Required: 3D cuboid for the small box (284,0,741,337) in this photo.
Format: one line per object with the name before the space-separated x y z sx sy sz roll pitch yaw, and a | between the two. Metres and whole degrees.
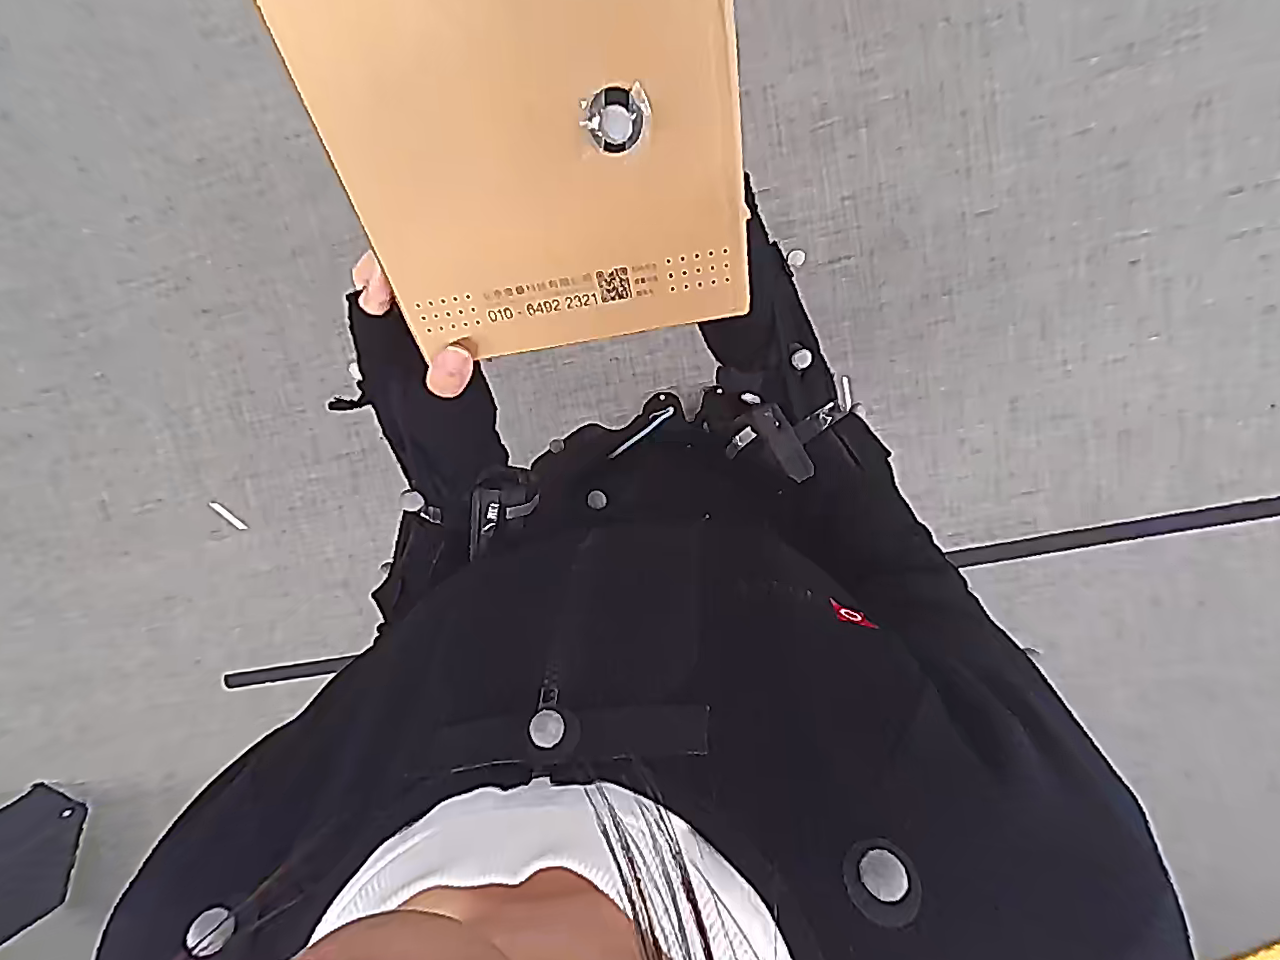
small box | -0.038 -0.190 0.301 0.168 0.179 0.176 -7 130 7
